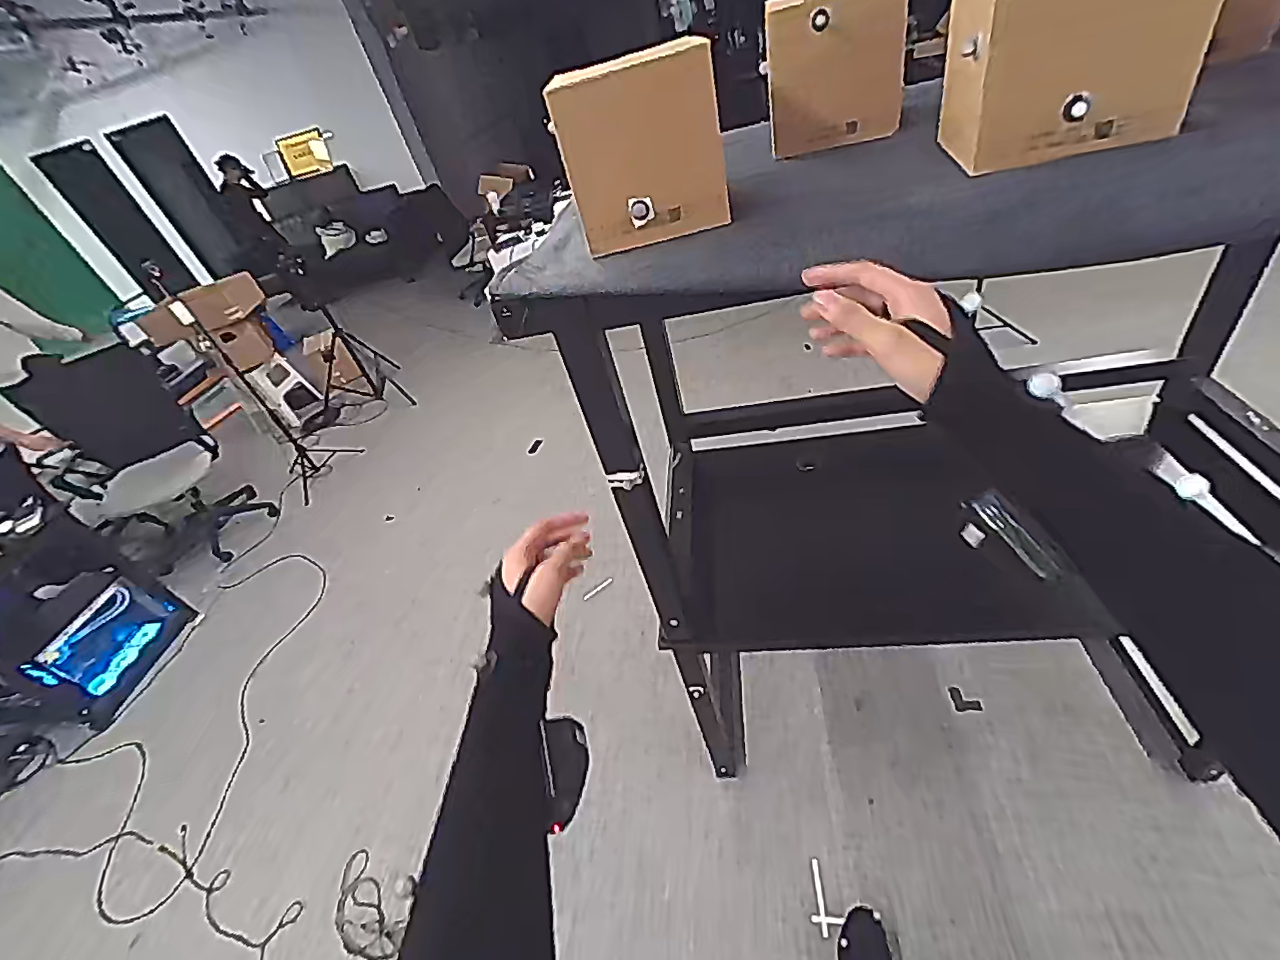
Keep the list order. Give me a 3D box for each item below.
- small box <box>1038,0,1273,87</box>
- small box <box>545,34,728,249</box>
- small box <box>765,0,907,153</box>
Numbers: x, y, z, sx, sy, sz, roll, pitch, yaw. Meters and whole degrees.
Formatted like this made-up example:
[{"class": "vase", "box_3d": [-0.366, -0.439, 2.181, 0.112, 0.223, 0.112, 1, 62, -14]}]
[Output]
[{"class": "small box", "box_3d": [0.629, -0.601, 0.657, 0.168, 0.176, 0.179, -8, 40, 11]}, {"class": "small box", "box_3d": [0.000, -0.390, 0.629, 0.168, 0.176, 0.179, -12, 39, 6]}, {"class": "small box", "box_3d": [0.266, -0.581, 0.759, 0.168, 0.176, 0.179, -4, 41, 17]}]
